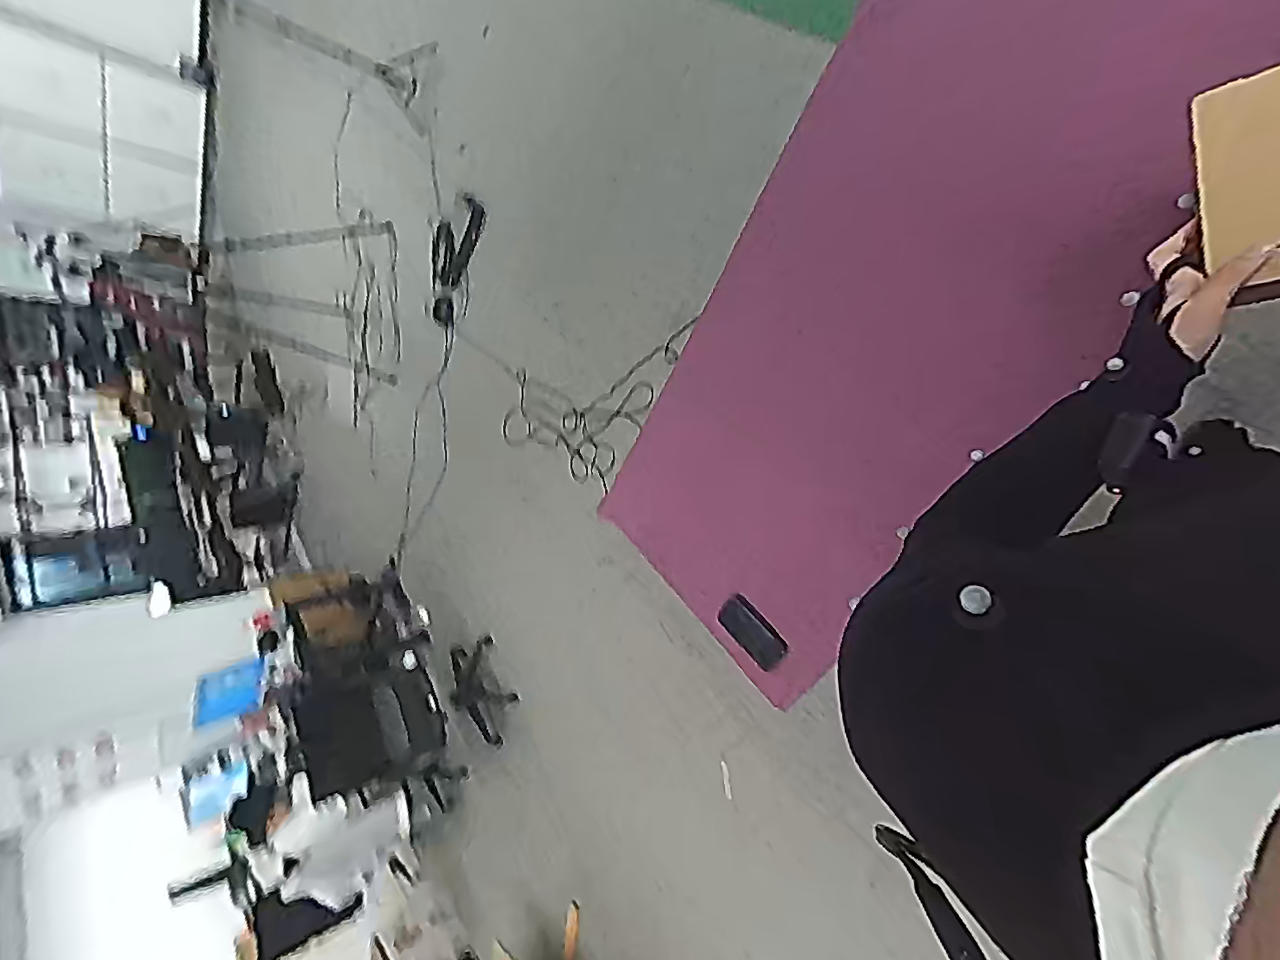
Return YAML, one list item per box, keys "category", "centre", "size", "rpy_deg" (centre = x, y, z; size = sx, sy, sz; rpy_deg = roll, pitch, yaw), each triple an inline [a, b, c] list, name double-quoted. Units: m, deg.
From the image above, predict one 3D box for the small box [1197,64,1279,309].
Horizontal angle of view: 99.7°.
- category: "small box"
  centre: [0.610, -0.263, 0.471]
  size: [0.168, 0.176, 0.179]
  rpy_deg: [-4, 94, 46]
